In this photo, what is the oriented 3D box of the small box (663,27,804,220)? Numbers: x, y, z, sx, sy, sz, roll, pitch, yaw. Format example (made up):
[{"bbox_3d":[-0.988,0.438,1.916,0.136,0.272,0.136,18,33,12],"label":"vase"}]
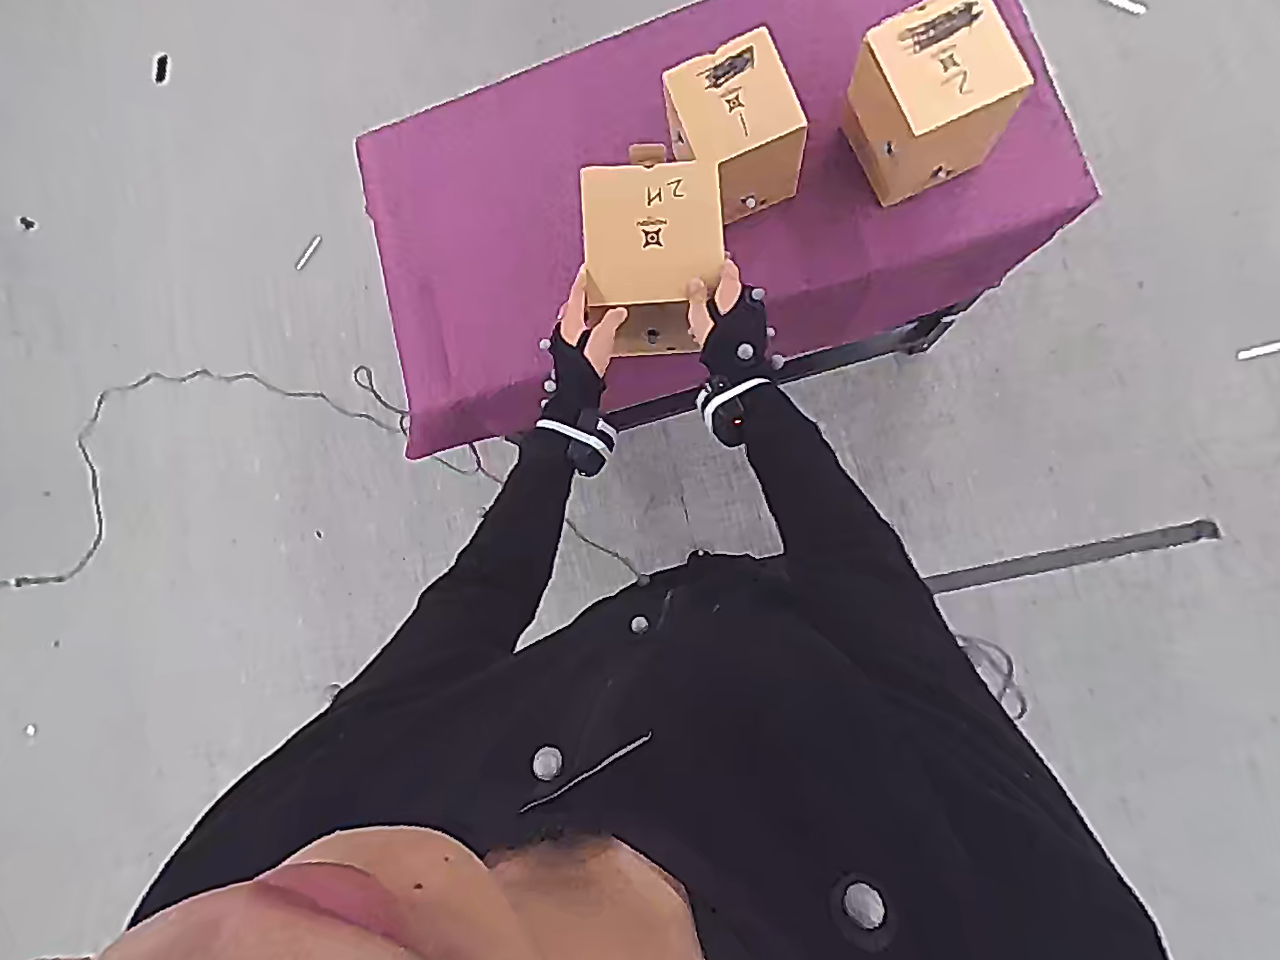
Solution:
[{"bbox_3d":[0.148,-0.560,0.879,0.168,0.176,0.179,-21,82,7],"label":"small box"}]

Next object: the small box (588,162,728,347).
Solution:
[{"bbox_3d":[0.022,-0.286,0.723,0.168,0.176,0.179,-2,82,0],"label":"small box"}]
